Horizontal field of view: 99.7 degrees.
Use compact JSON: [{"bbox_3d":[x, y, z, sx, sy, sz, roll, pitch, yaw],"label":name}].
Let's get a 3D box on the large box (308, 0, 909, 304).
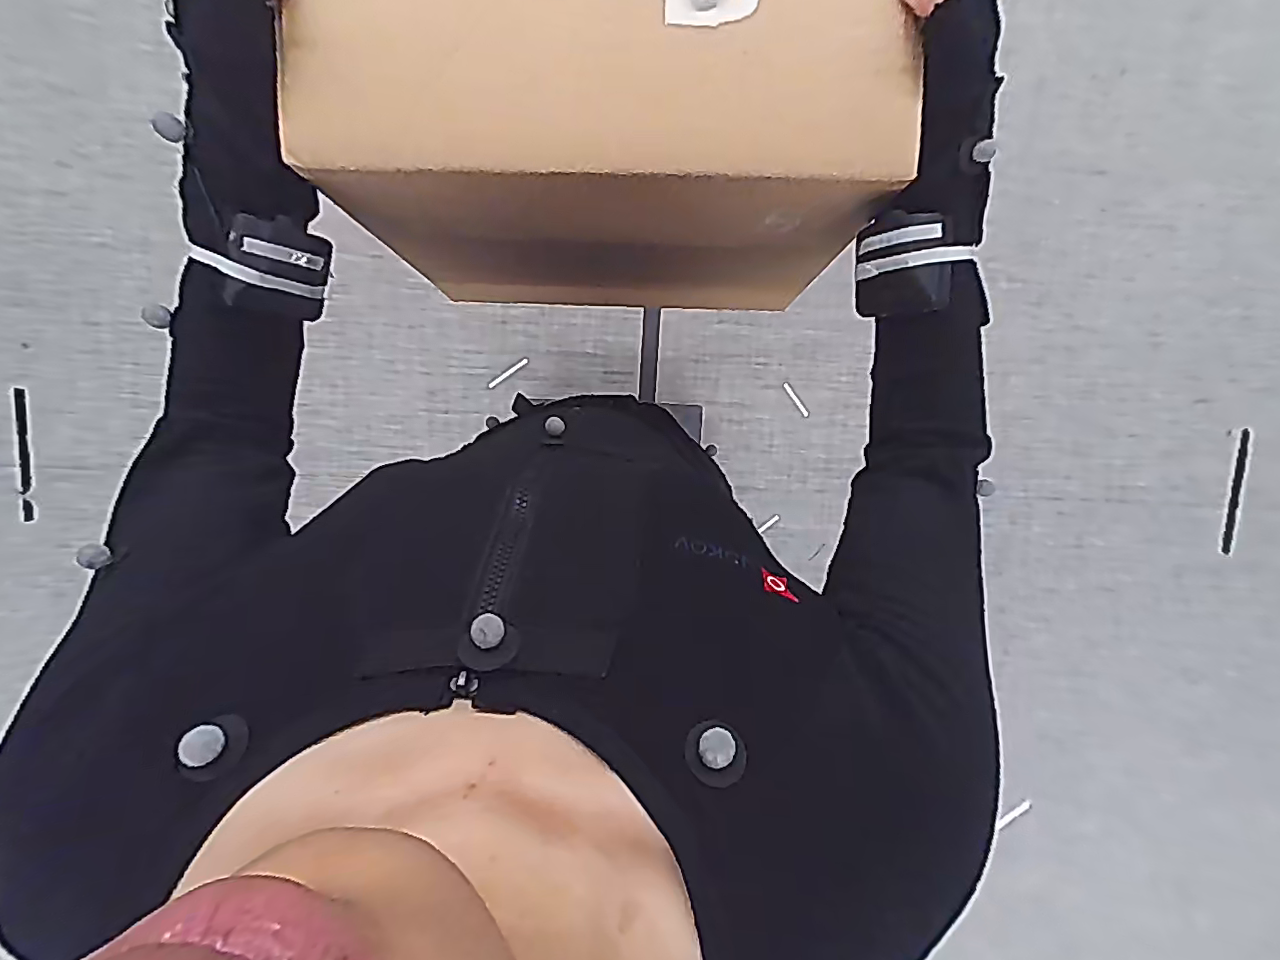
[{"bbox_3d":[-0.021,-0.363,0.504,0.408,0.320,0.320,1,93,0],"label":"large box"}]
